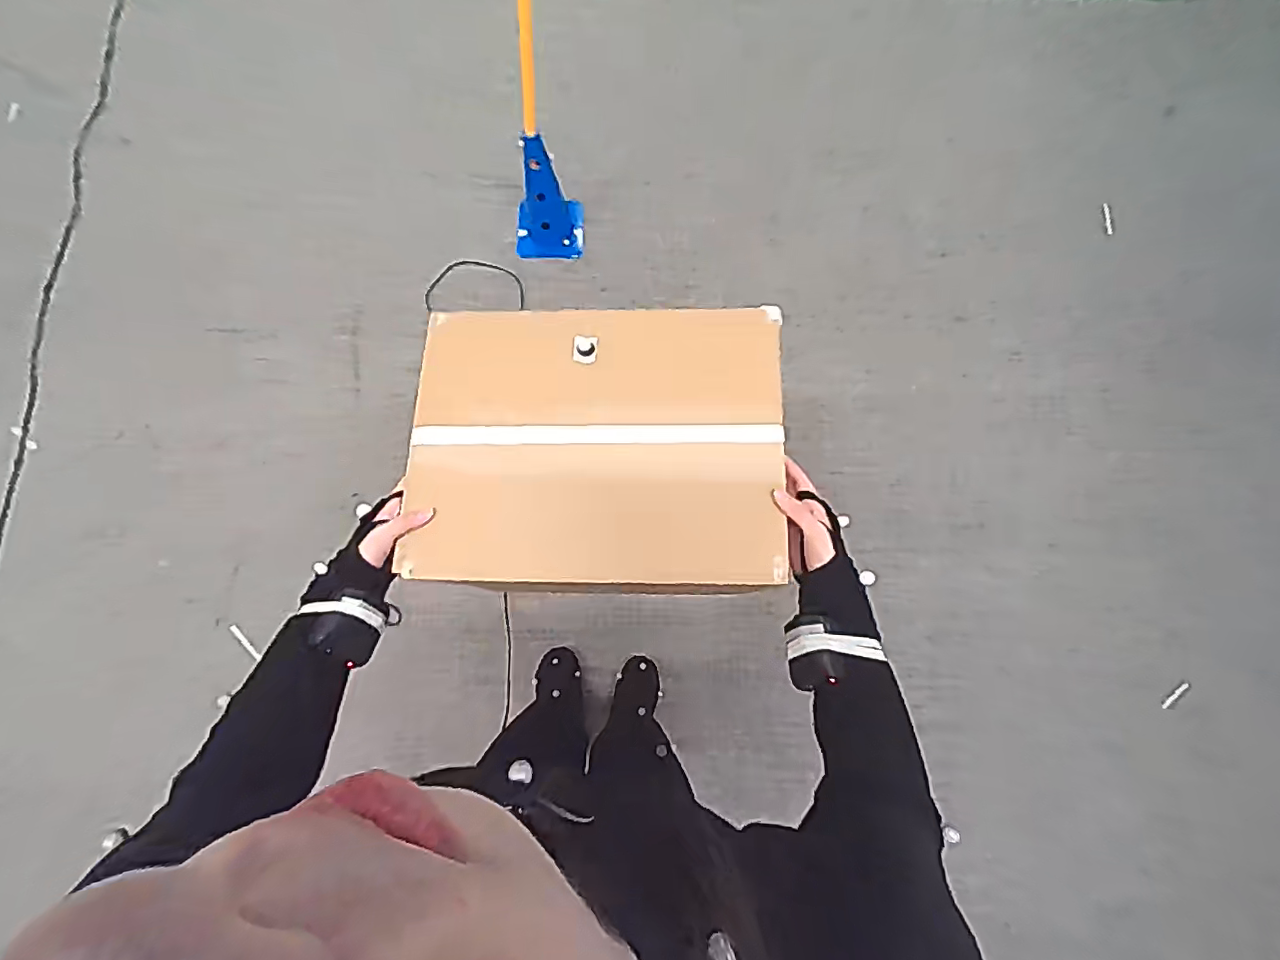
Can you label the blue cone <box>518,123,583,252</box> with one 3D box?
[{"bbox_3d":[-0.260,-0.807,1.465,0.193,0.380,0.192,-1,79,-3],"label":"blue cone"}]
